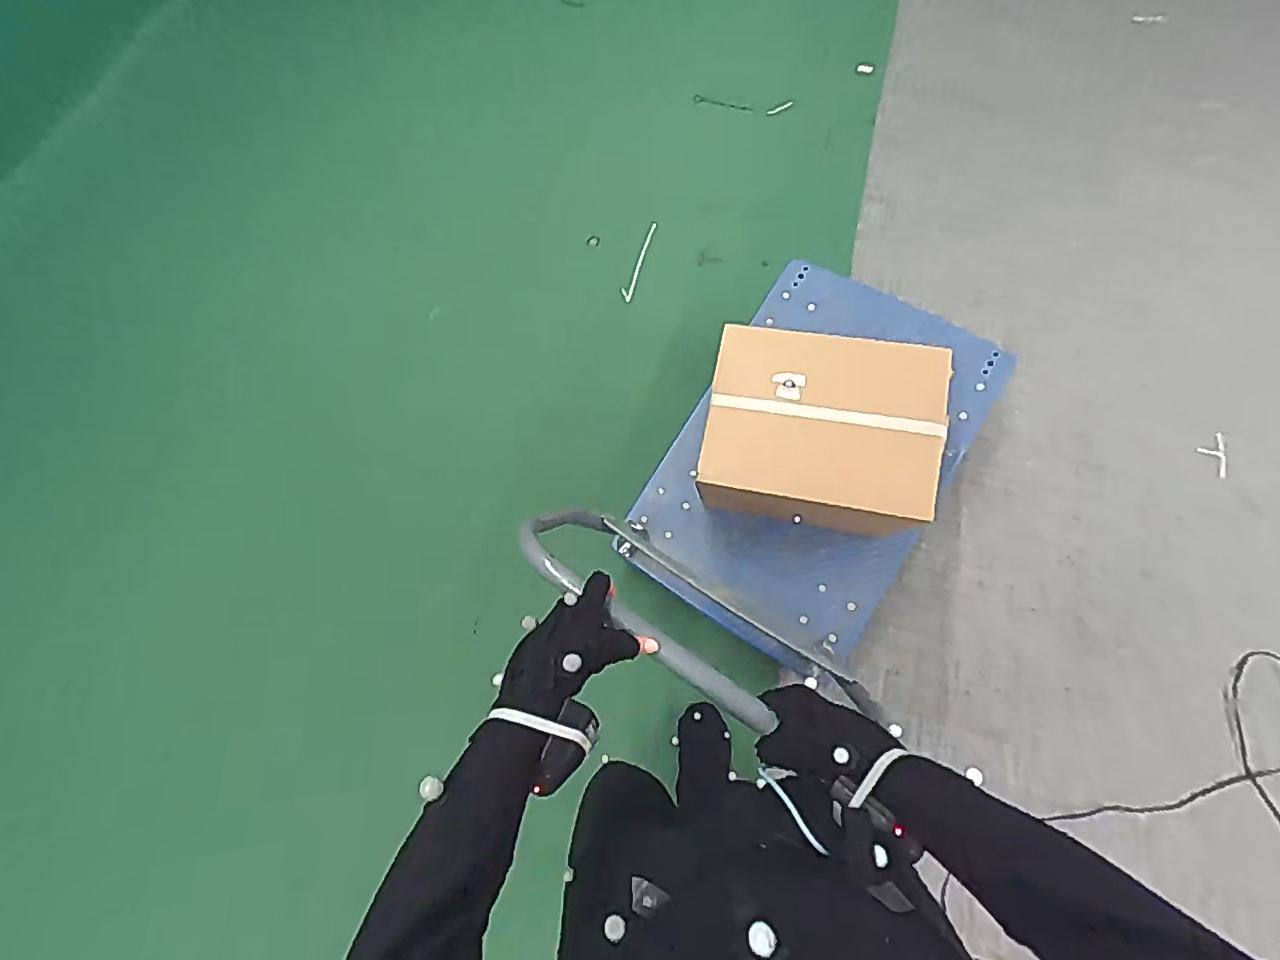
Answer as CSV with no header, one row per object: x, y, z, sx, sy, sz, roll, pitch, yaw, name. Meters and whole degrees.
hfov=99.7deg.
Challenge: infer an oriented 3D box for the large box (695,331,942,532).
0.350,-0.084,1.122,0.408,0.320,0.320,10,80,13,large box
